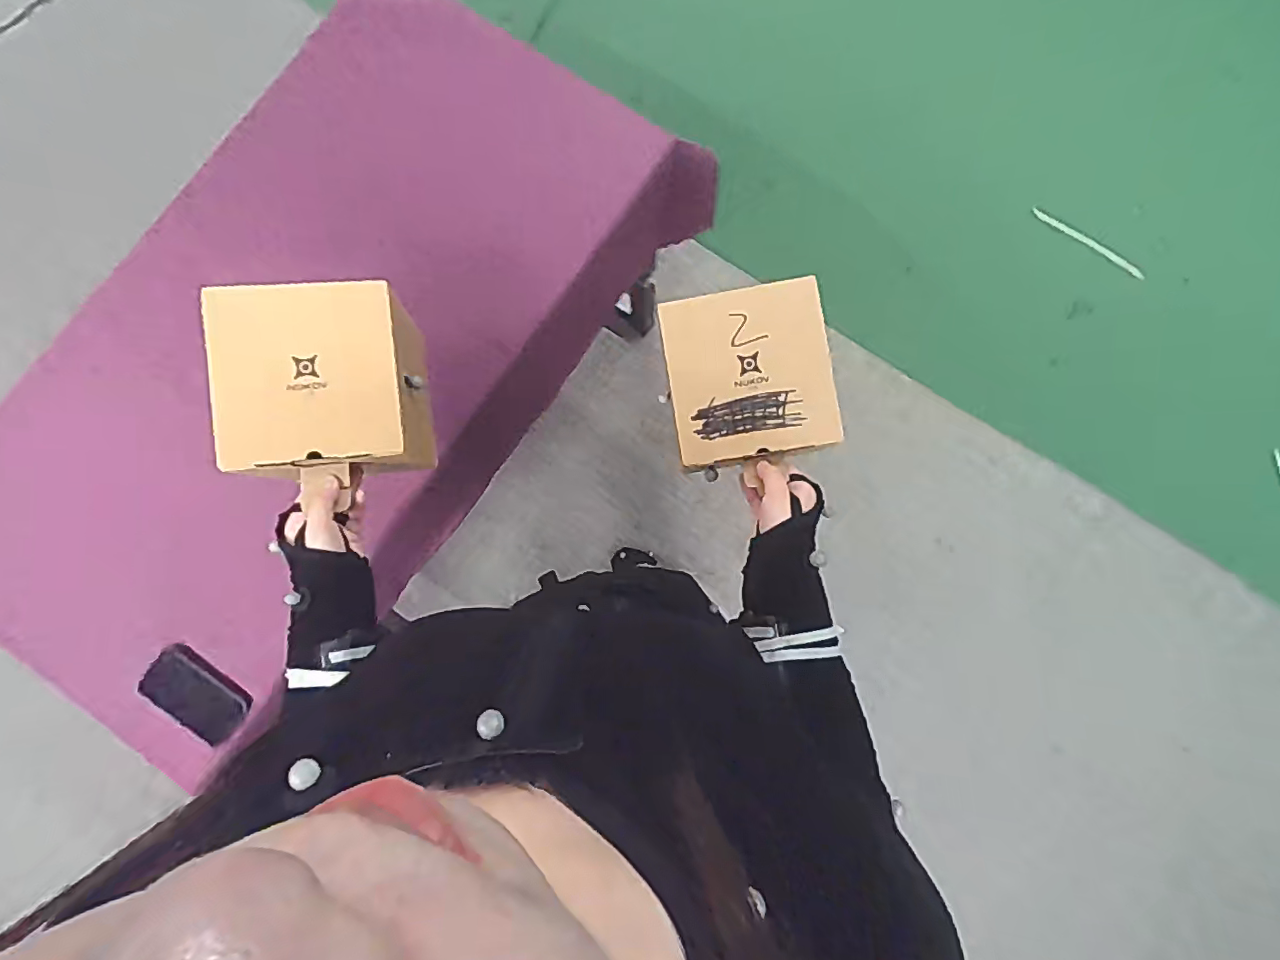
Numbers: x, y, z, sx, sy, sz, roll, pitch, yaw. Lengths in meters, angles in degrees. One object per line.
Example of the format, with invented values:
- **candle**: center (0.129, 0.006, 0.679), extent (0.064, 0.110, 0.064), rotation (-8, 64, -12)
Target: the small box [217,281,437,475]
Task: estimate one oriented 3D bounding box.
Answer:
- **small box**: center (-0.326, -0.101, 0.597), extent (0.168, 0.176, 0.179), rotation (-4, 89, -12)
